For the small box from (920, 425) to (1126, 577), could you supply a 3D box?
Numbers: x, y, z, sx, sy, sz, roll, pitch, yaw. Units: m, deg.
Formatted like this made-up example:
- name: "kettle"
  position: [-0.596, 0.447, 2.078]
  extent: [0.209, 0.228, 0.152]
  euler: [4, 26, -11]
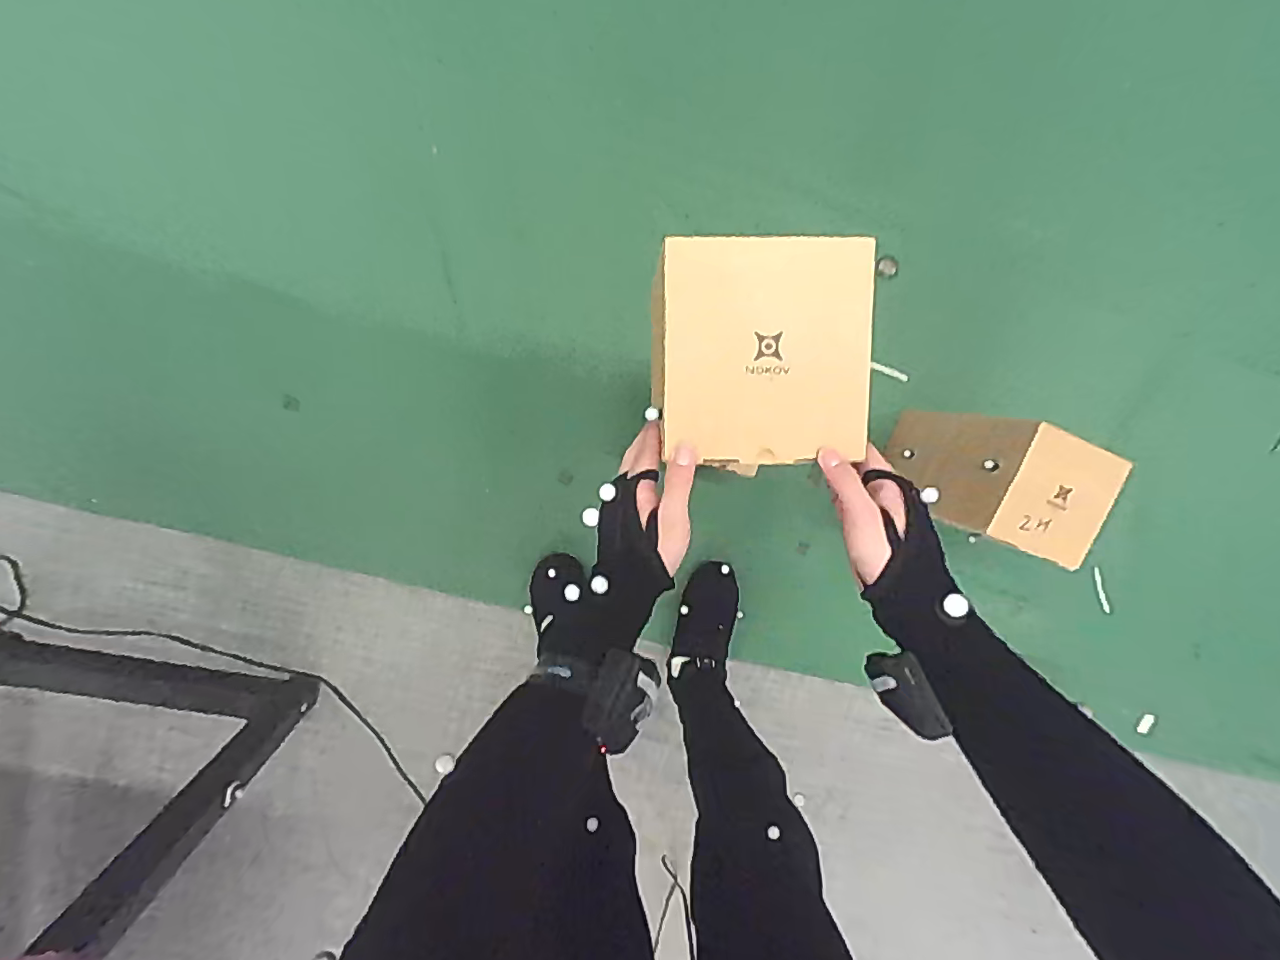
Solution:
- name: "small box"
  position: [0.586, 0.022, 0.853]
  extent: [0.168, 0.176, 0.179]
  euler: [22, 97, -9]

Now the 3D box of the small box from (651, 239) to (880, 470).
- name: "small box"
  position: [0.098, -0.104, 0.497]
  extent: [0.168, 0.176, 0.179]
  euler: [0, 98, -3]
